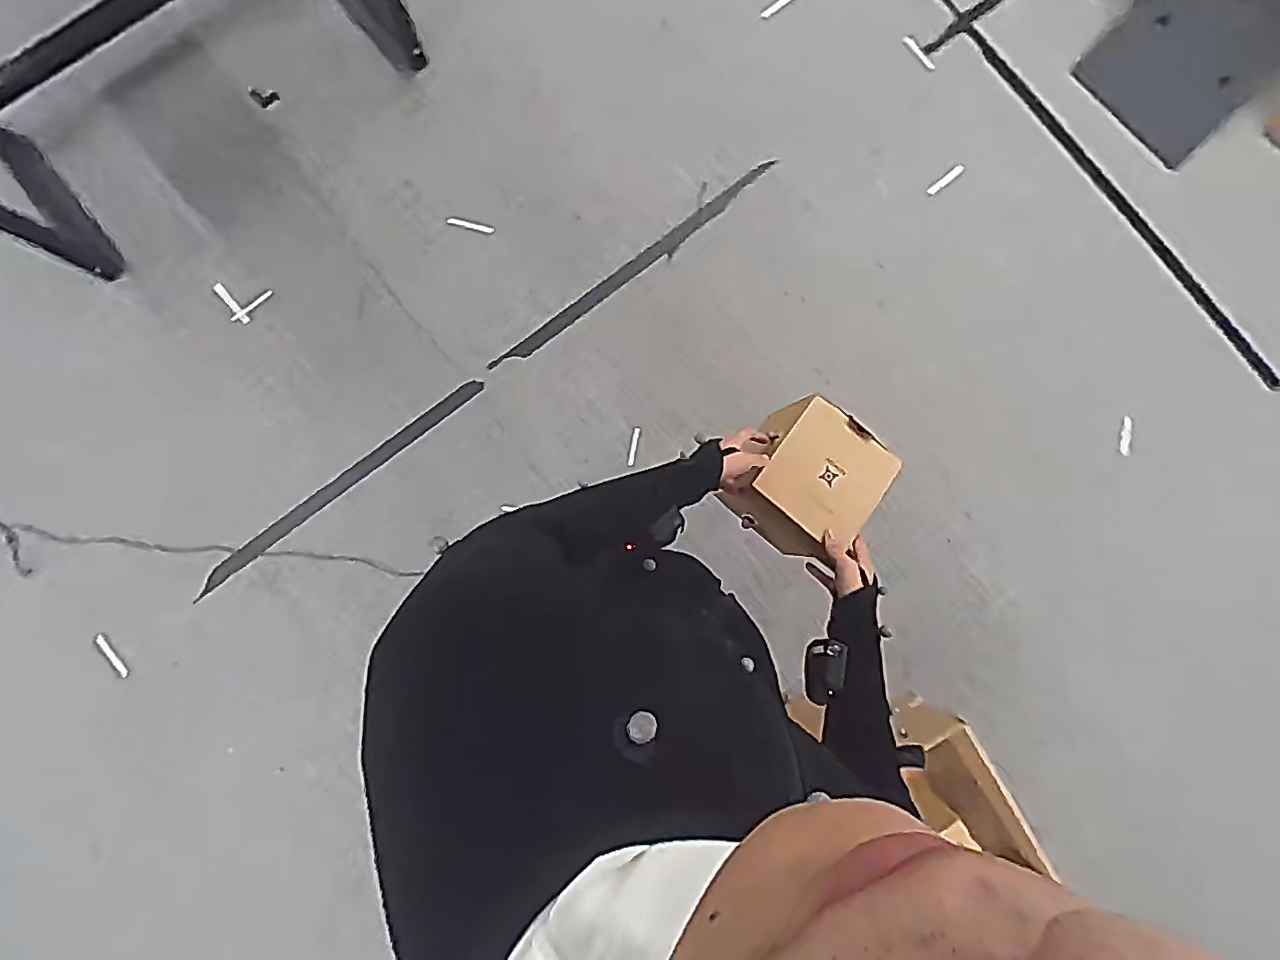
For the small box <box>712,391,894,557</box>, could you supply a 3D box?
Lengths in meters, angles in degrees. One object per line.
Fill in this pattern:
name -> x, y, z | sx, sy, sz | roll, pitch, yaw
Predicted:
small box -> 0.236, -0.002, 0.826 | 0.168, 0.176, 0.179 | 39, 77, -6
